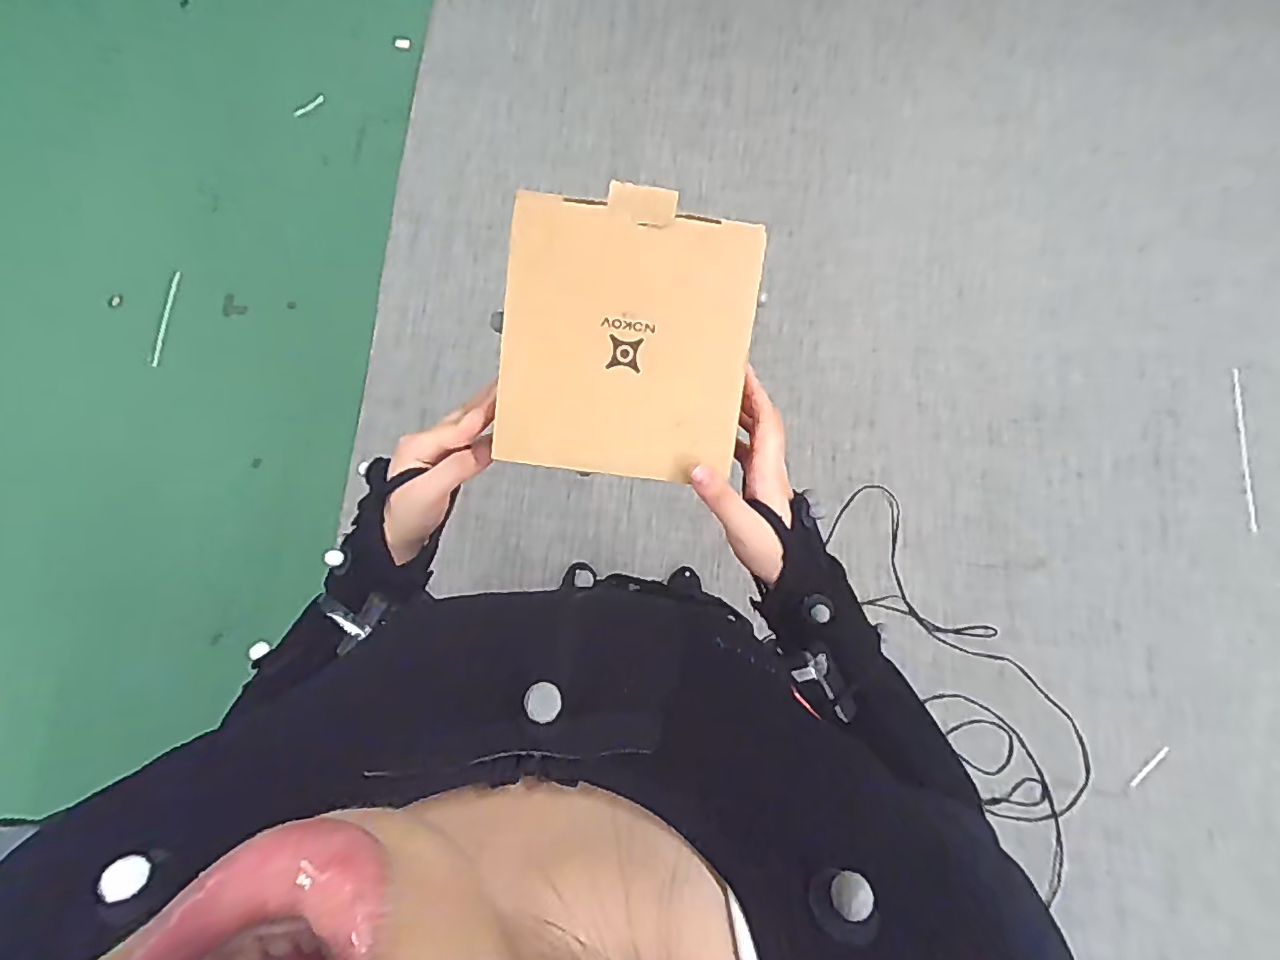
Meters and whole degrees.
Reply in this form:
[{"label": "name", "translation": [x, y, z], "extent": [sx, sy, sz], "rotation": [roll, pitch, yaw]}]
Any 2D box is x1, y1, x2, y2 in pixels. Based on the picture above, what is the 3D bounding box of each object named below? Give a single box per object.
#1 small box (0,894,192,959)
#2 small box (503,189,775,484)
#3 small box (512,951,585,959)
[{"label": "small box", "translation": [-0.675, 0.638, 0.623], "extent": [0.168, 0.176, 0.179], "rotation": [24, 85, 6]}, {"label": "small box", "translation": [-0.005, -0.103, 0.437], "extent": [0.168, 0.176, 0.179], "rotation": [6, 98, -3]}, {"label": "small box", "translation": [-0.095, 0.688, 0.602], "extent": [0.168, 0.176, 0.179], "rotation": [4, 82, 2]}]
